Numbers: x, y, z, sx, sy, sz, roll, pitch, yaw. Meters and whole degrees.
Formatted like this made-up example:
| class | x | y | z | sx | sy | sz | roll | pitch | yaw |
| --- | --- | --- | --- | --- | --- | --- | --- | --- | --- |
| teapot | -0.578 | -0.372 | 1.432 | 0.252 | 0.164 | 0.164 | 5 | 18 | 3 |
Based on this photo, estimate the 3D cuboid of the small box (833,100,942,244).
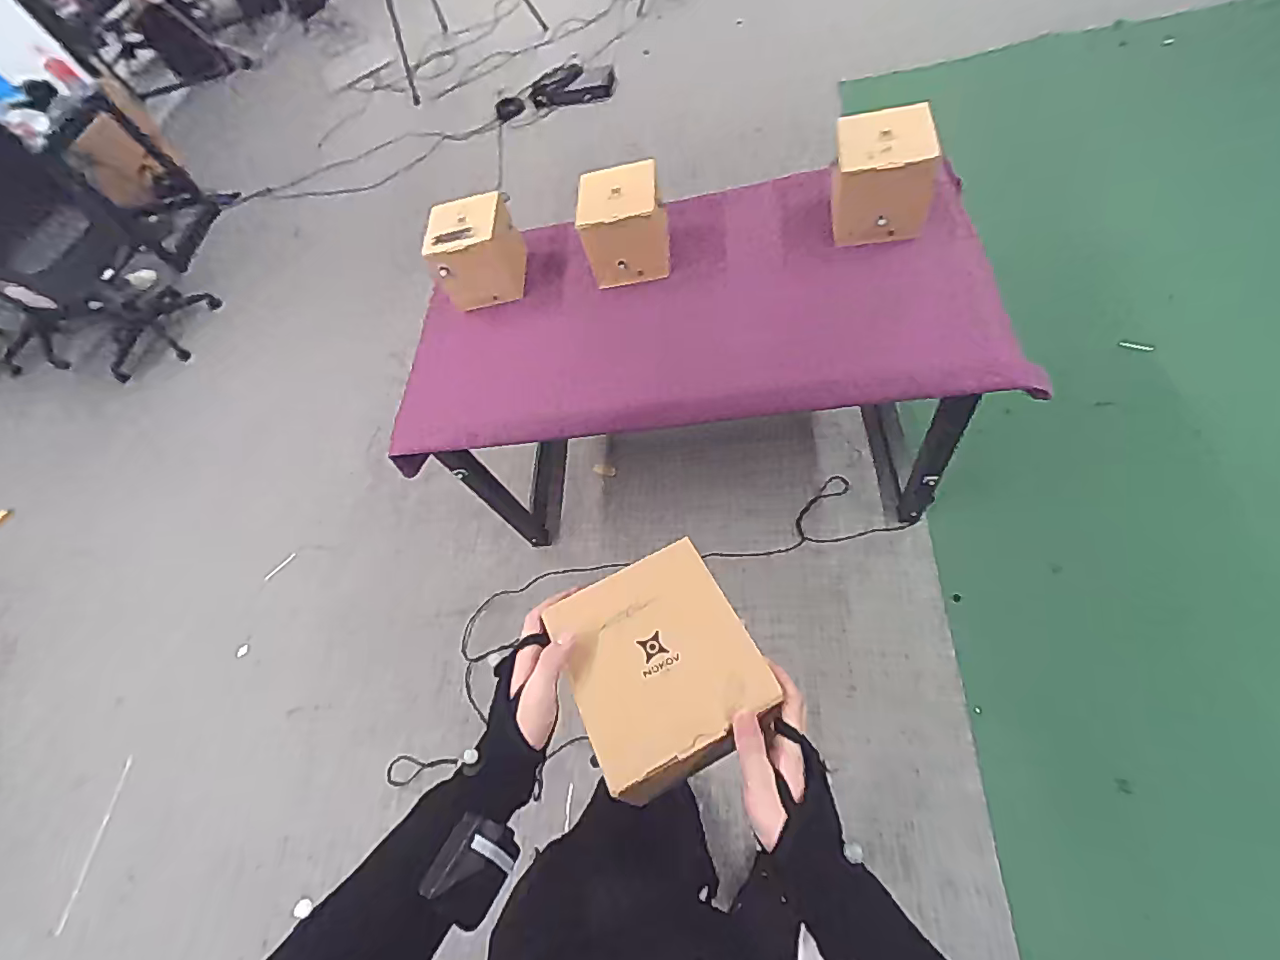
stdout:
| class | x | y | z | sx | sy | sz | roll | pitch | yaw |
| --- | --- | --- | --- | --- | --- | --- | --- | --- | --- |
| small box | 0.475 | -0.598 | 1.064 | 0.168 | 0.176 | 0.179 | -1 | 62 | 16 |

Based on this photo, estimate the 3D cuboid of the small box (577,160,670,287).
| class | x | y | z | sx | sy | sz | roll | pitch | yaw |
| --- | --- | --- | --- | --- | --- | --- | --- | --- | --- |
| small box | -0.030 | -0.556 | 1.184 | 0.168 | 0.176 | 0.179 | -6 | 62 | 12 |
